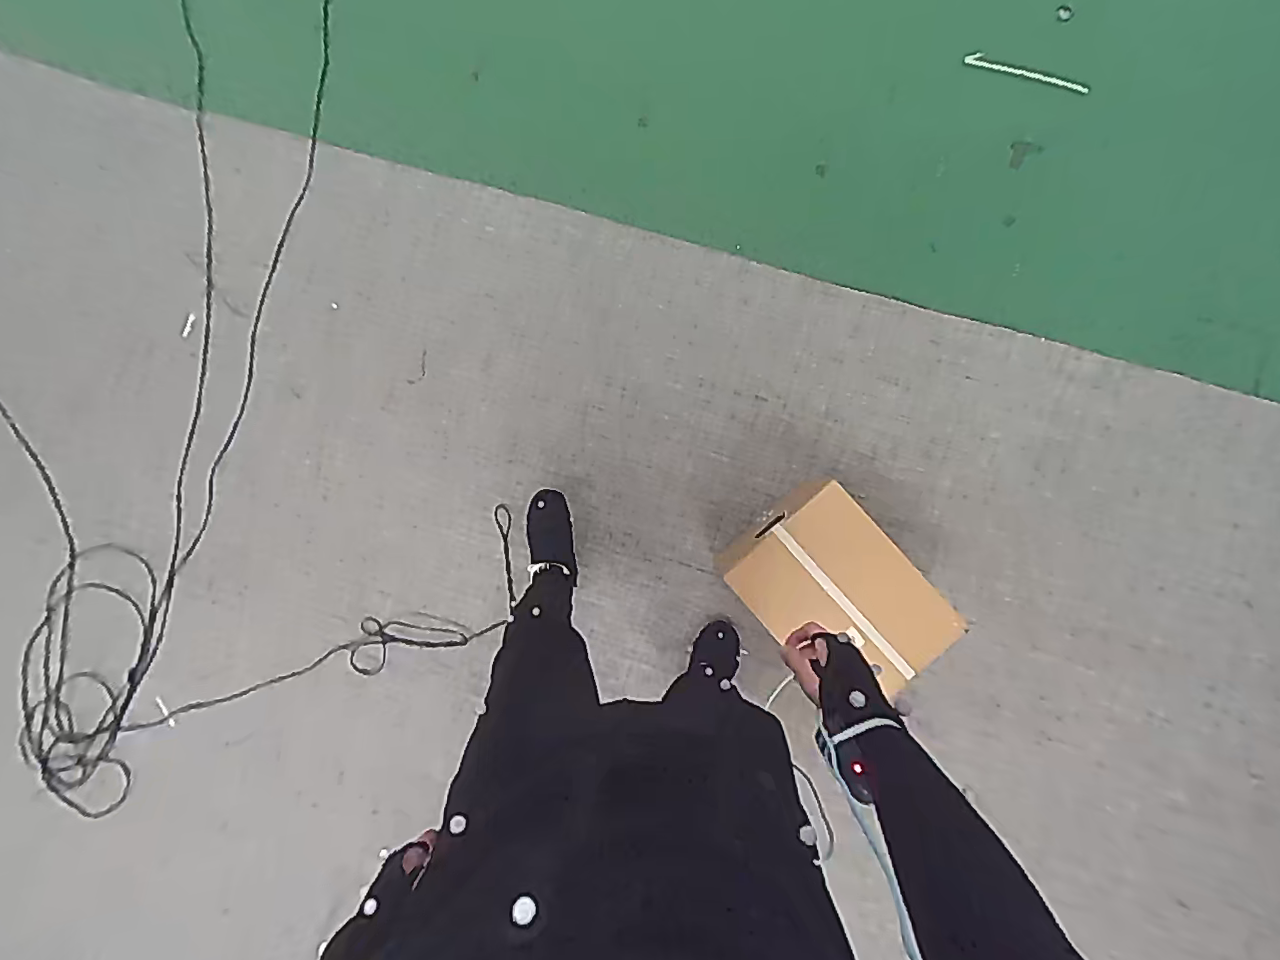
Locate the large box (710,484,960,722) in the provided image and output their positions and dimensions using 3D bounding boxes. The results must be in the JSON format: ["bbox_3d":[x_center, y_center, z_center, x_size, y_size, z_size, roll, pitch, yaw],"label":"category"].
[{"bbox_3d":[0.417,0.256,1.262,0.320,0.320,0.408,-42,86,2],"label":"large box"}]
